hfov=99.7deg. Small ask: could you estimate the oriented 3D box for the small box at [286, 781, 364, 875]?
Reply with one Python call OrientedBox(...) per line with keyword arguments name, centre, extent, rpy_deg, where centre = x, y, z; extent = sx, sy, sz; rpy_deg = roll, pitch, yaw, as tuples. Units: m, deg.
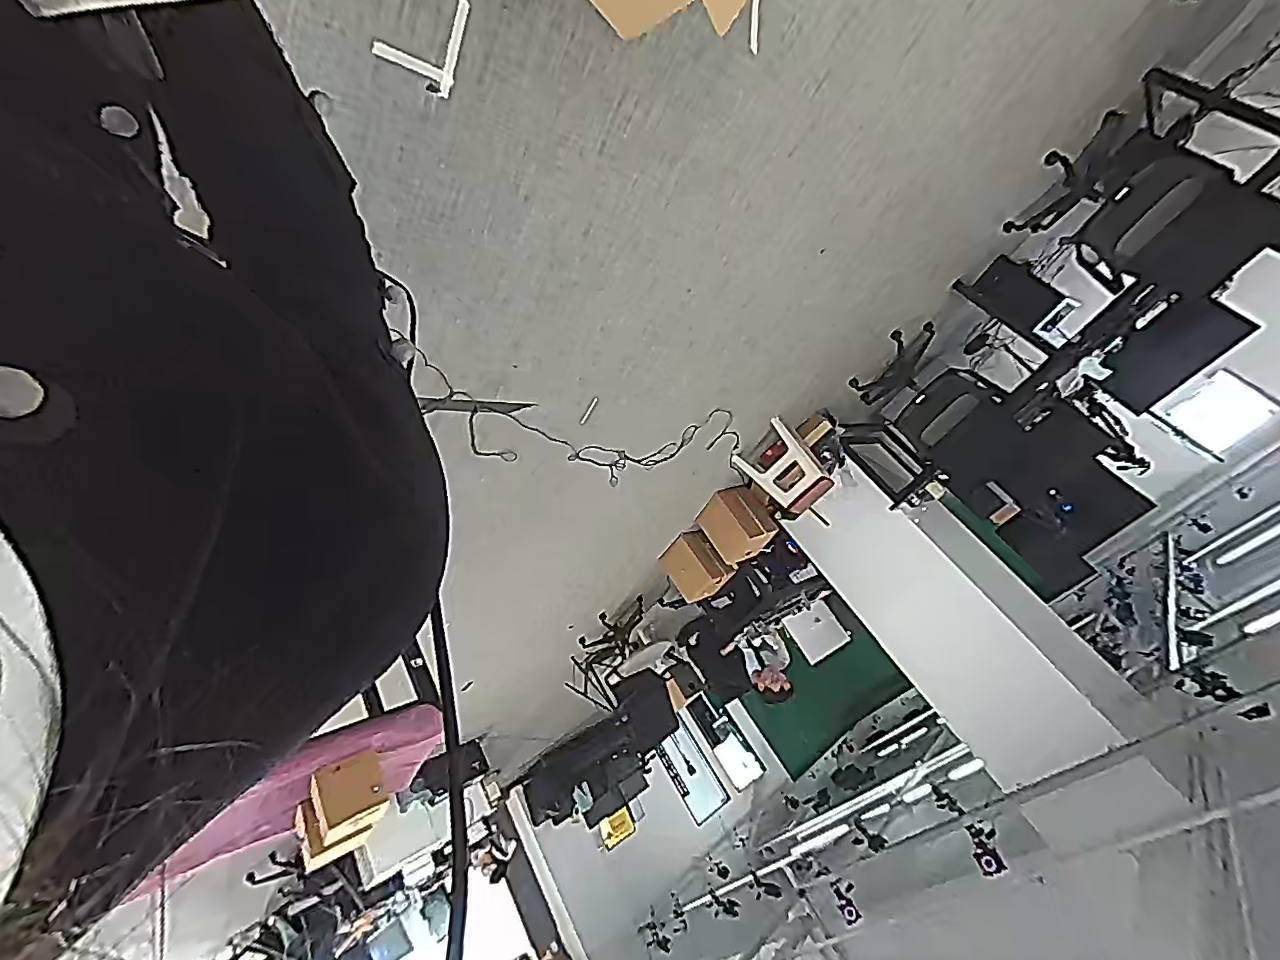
OrientedBox(name="small box", centre=(-1.013, 1.107, 1.728), extent=(0.179, 0.176, 0.168), rpy_deg=(-8, 143, -43))
